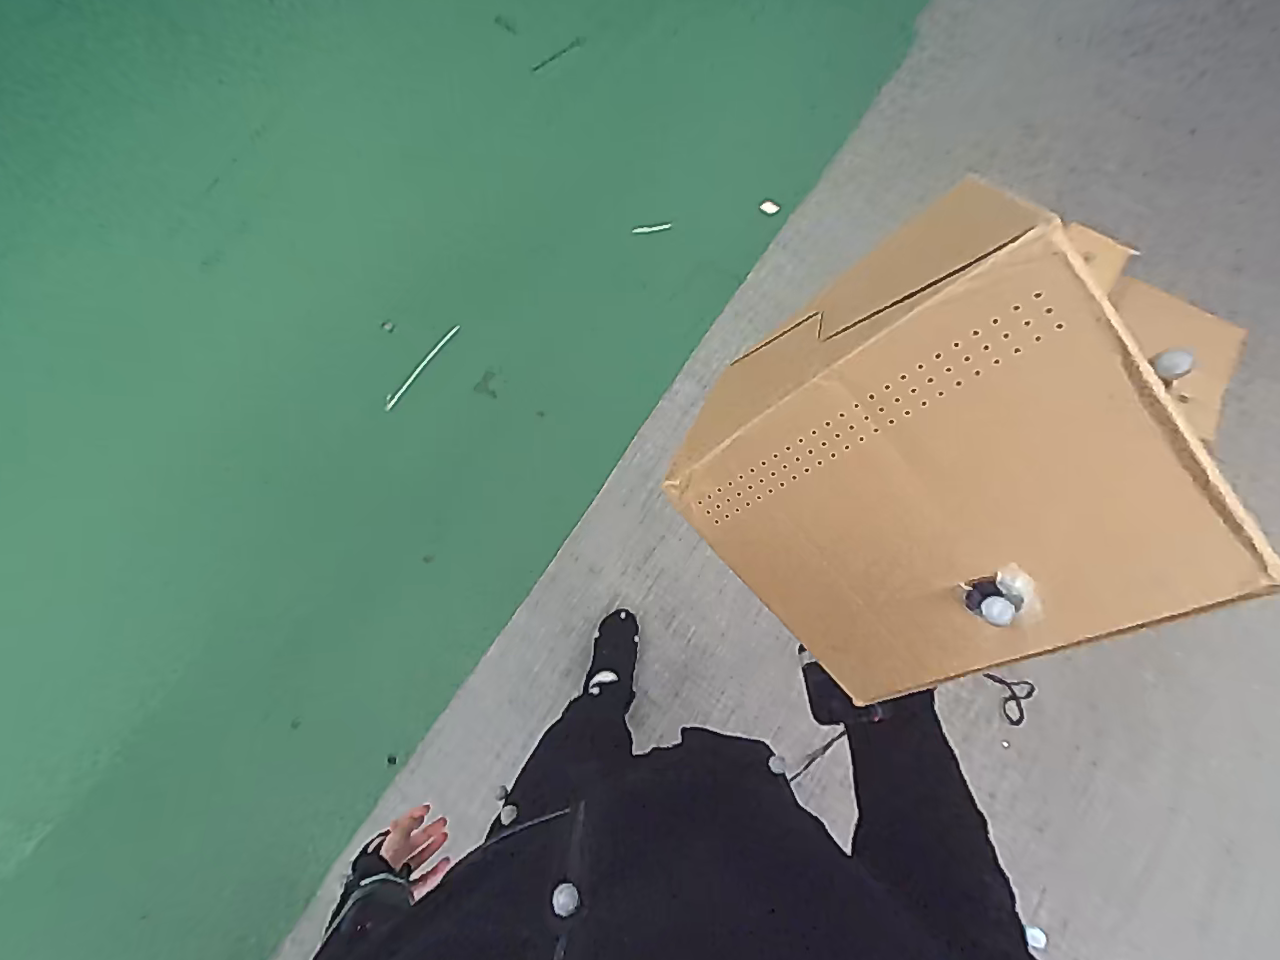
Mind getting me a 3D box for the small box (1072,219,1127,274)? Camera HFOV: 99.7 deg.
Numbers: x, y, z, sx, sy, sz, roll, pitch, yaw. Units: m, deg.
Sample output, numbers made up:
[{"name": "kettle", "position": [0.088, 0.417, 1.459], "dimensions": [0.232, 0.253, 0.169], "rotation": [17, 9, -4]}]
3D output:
[{"name": "small box", "position": [1.158, -0.566, 1.484], "dimensions": [0.168, 0.176, 0.179], "rotation": [34, 78, 10]}]
